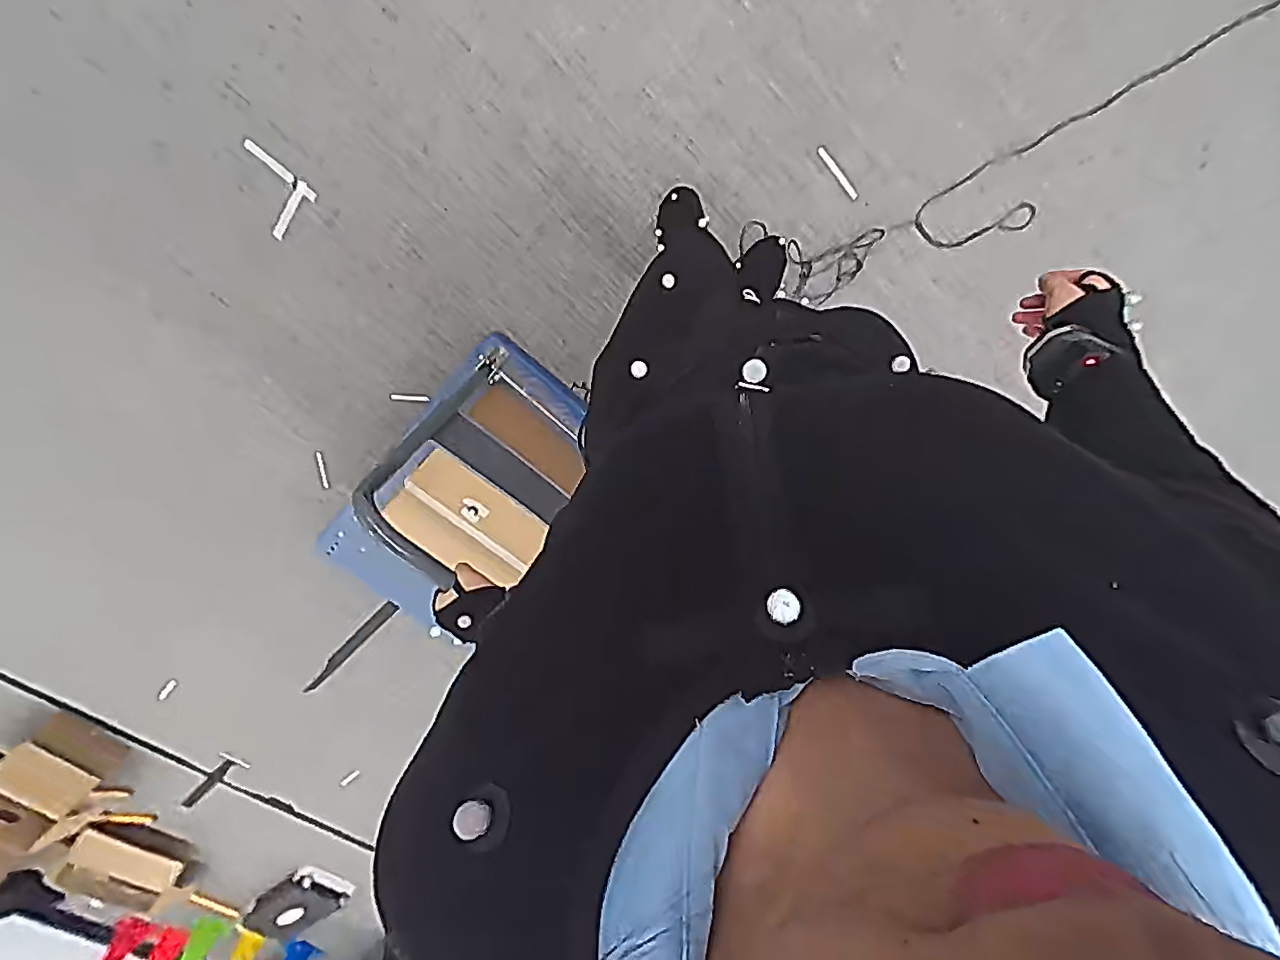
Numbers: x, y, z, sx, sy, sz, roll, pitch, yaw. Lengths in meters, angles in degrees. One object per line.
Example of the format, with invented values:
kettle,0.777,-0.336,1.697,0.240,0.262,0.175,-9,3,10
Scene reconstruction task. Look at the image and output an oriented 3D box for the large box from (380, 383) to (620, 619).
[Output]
large box,-0.304,0.045,1.288,0.408,0.320,0.320,41,112,-17
